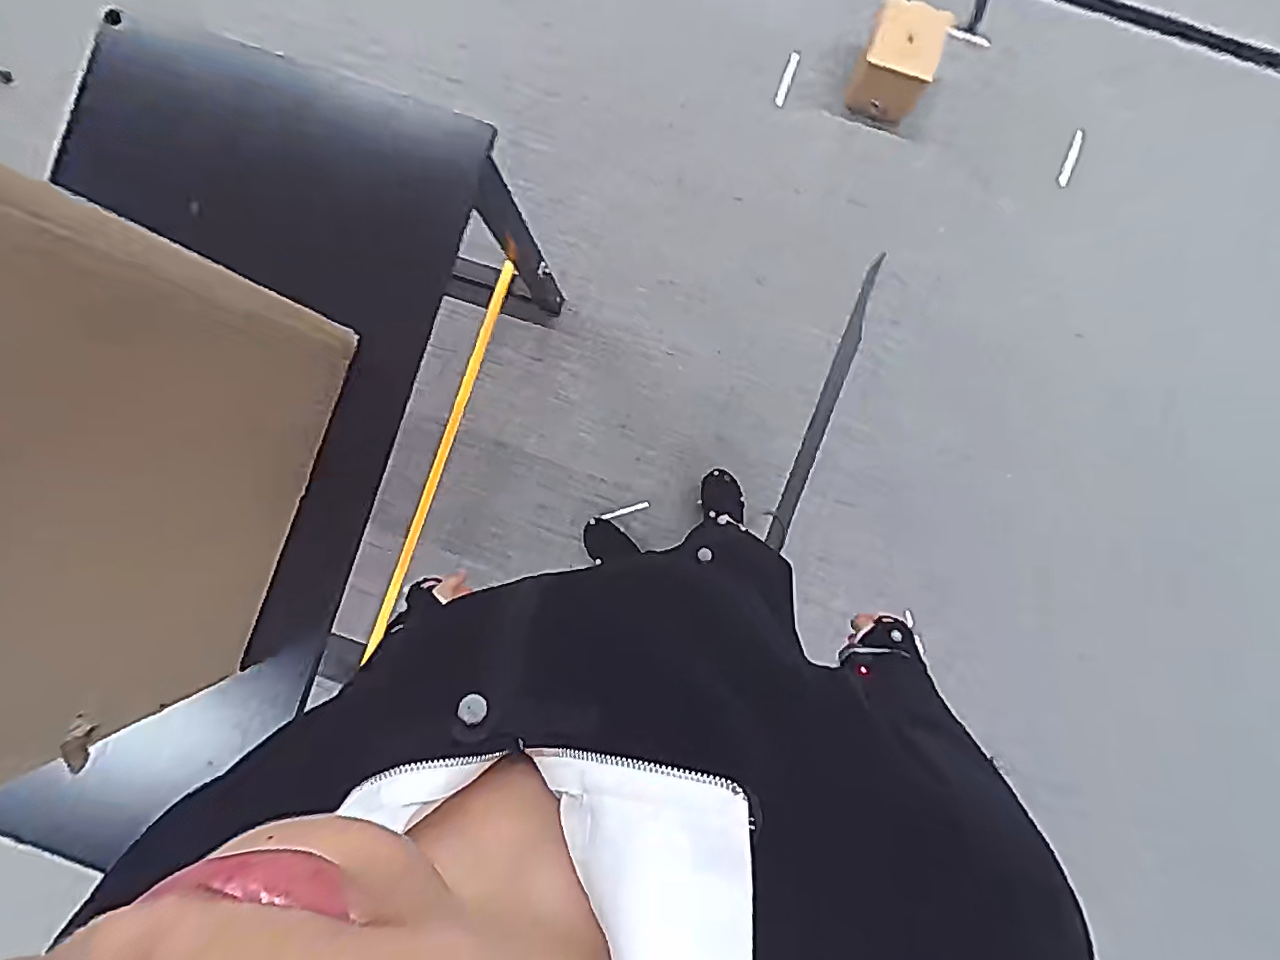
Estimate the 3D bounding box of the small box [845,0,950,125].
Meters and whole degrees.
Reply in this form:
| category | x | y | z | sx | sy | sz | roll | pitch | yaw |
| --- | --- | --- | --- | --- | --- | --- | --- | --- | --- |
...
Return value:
| category | x | y | z | sx | sy | sz | roll | pitch | yaw |
| --- | --- | --- | --- | --- | --- | --- | --- | --- | --- |
| small box | 0.655 | -1.075 | 1.399 | 0.168 | 0.176 | 0.179 | 18 | 92 | 2 |
